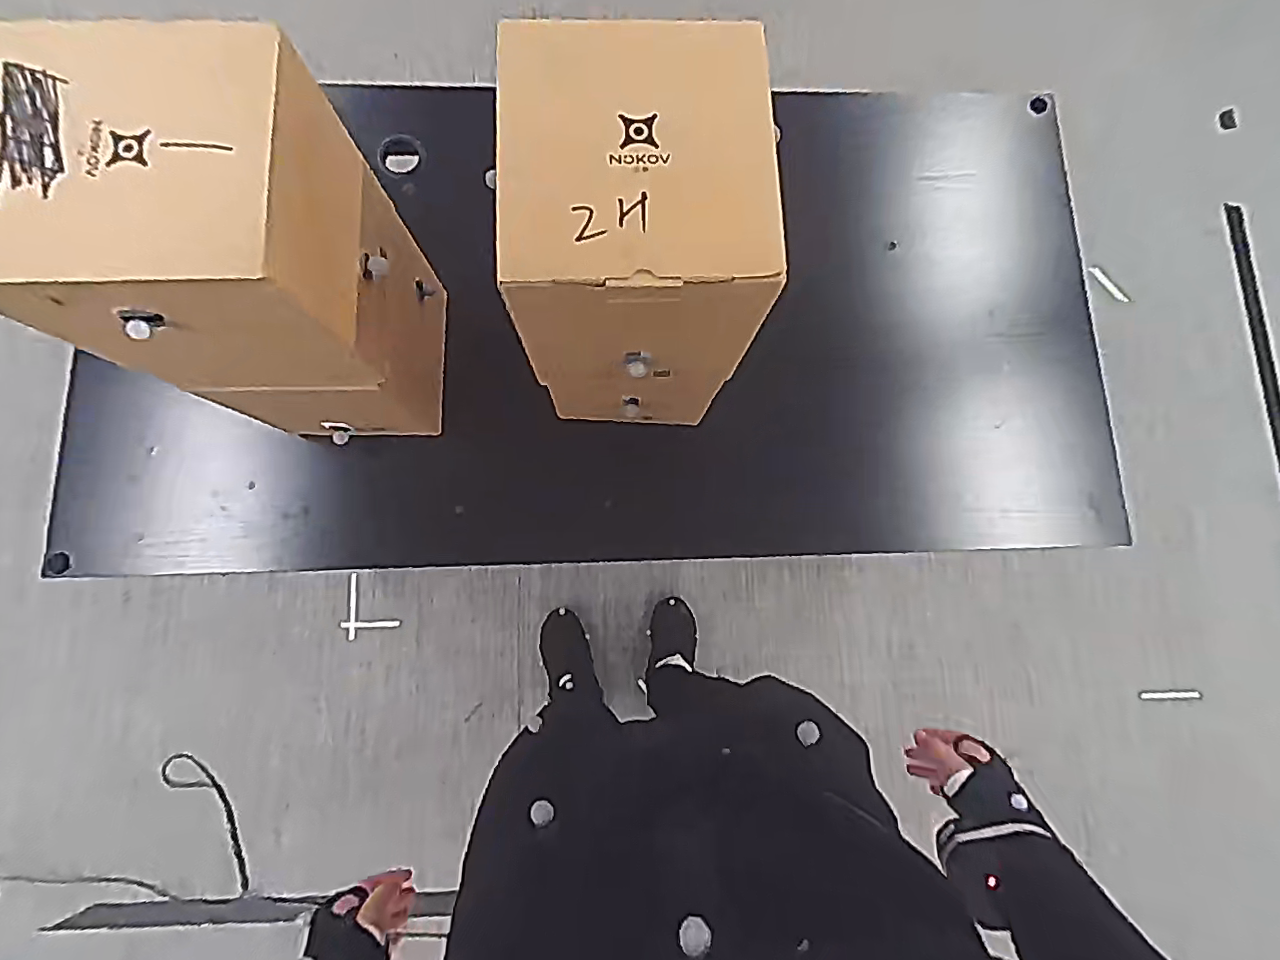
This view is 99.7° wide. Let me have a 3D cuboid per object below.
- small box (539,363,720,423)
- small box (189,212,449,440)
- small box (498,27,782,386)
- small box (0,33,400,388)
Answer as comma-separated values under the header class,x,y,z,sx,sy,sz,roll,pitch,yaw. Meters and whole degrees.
class,x,y,z,sx,sy,sz,roll,pitch,yaw
small box,-0.006,-0.163,0.567,0.168,0.176,0.179,2,81,-2
small box,-0.304,-0.145,0.550,0.168,0.176,0.179,-1,81,-2
small box,-0.005,-0.182,0.401,0.168,0.176,0.179,-2,81,-2
small box,-0.296,-0.170,0.388,0.179,0.176,0.168,-2,81,-3
